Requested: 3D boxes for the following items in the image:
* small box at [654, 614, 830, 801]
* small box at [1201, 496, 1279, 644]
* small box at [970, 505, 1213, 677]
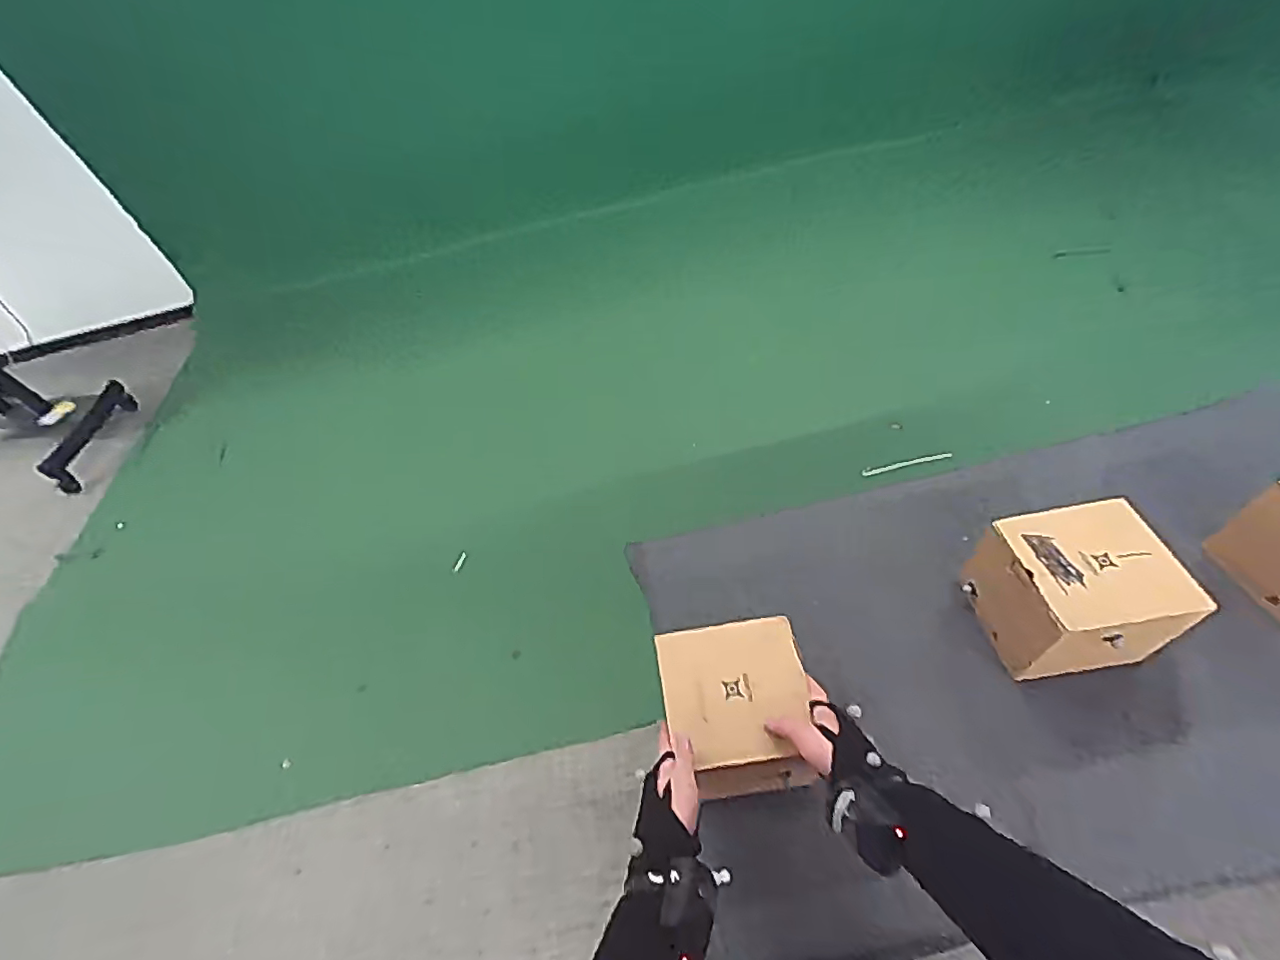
[{"bbox_3d":[0.118,0.293,0.689,0.179,0.176,0.168,-9,49,0],"label":"small box"},{"bbox_3d":[0.944,0.109,0.726,0.179,0.176,0.168,-18,52,-2],"label":"small box"},{"bbox_3d":[0.581,0.157,0.736,0.179,0.176,0.168,-8,52,5],"label":"small box"}]
